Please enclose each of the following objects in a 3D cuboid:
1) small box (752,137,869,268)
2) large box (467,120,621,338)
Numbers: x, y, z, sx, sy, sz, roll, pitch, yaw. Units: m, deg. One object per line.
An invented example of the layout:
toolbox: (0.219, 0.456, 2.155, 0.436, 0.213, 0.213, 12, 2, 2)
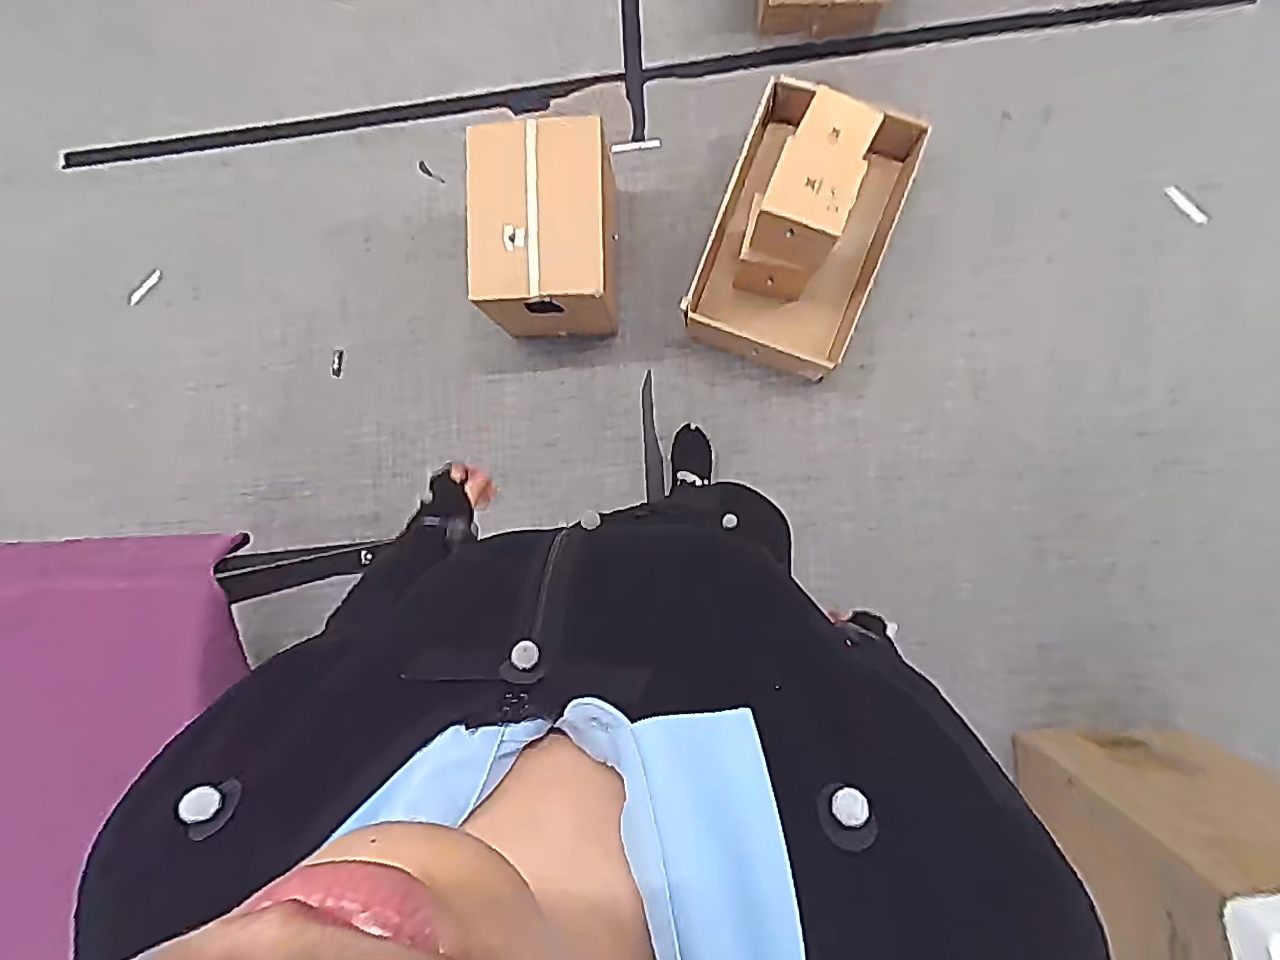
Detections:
small box: (0.357, -0.589, 1.171, 0.179, 0.176, 0.168, 22, 89, 4)
large box: (-0.220, -0.601, 1.360, 0.320, 0.320, 0.408, -2, 90, 5)
